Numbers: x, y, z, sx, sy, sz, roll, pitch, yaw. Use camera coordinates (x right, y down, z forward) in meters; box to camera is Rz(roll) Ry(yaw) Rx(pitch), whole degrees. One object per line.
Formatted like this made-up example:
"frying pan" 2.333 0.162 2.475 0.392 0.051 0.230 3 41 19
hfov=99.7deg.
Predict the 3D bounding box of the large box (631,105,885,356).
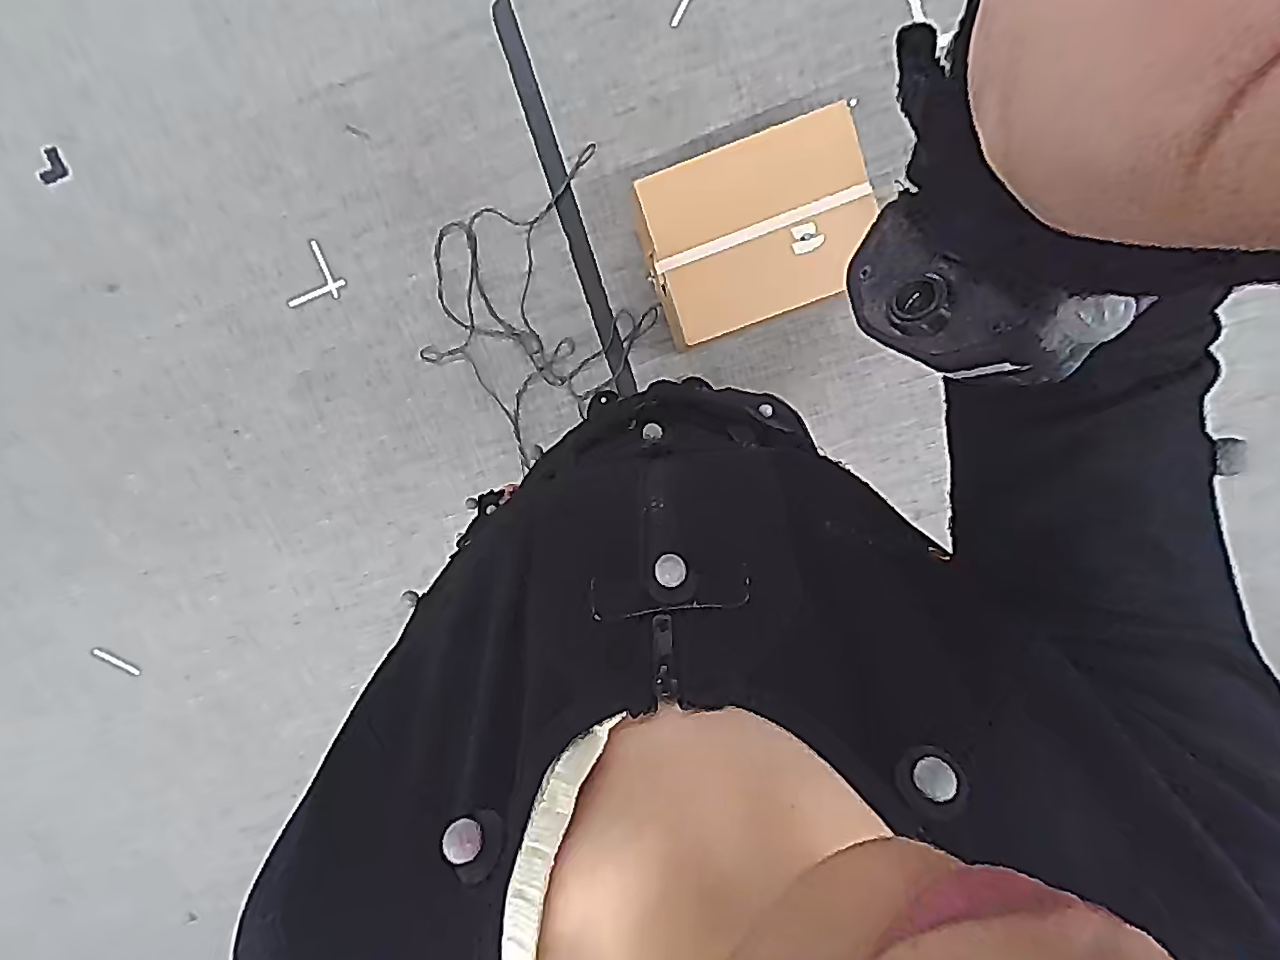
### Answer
"large box" 0.221 -0.485 1.143 0.408 0.320 0.320 -20 100 3
